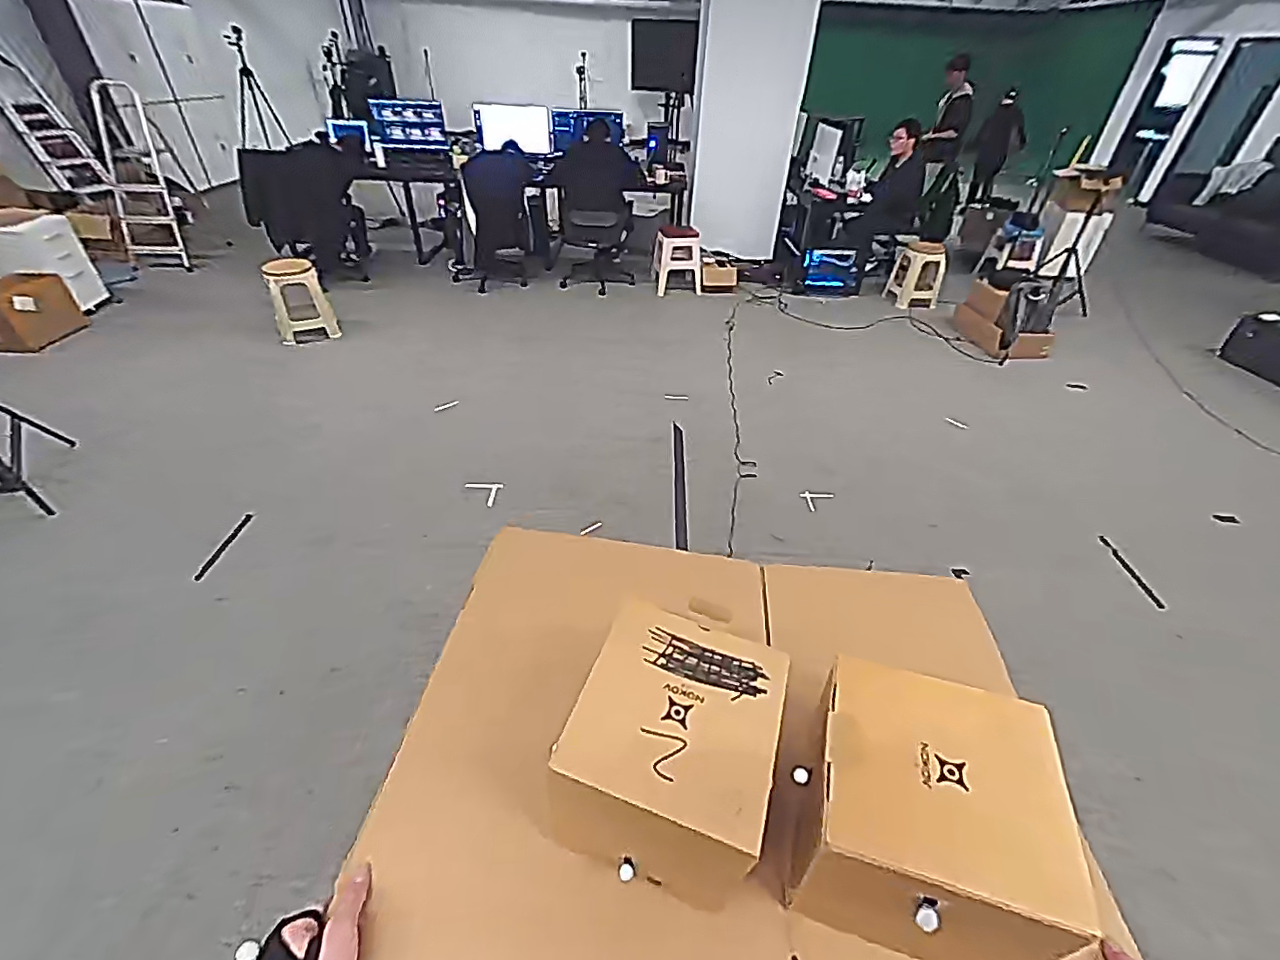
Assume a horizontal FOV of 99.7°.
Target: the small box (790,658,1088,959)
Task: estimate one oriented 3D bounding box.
[{"bbox_3d":[0.244,0.296,0.487,0.179,0.176,0.168,11,41,16],"label":"small box"}]
